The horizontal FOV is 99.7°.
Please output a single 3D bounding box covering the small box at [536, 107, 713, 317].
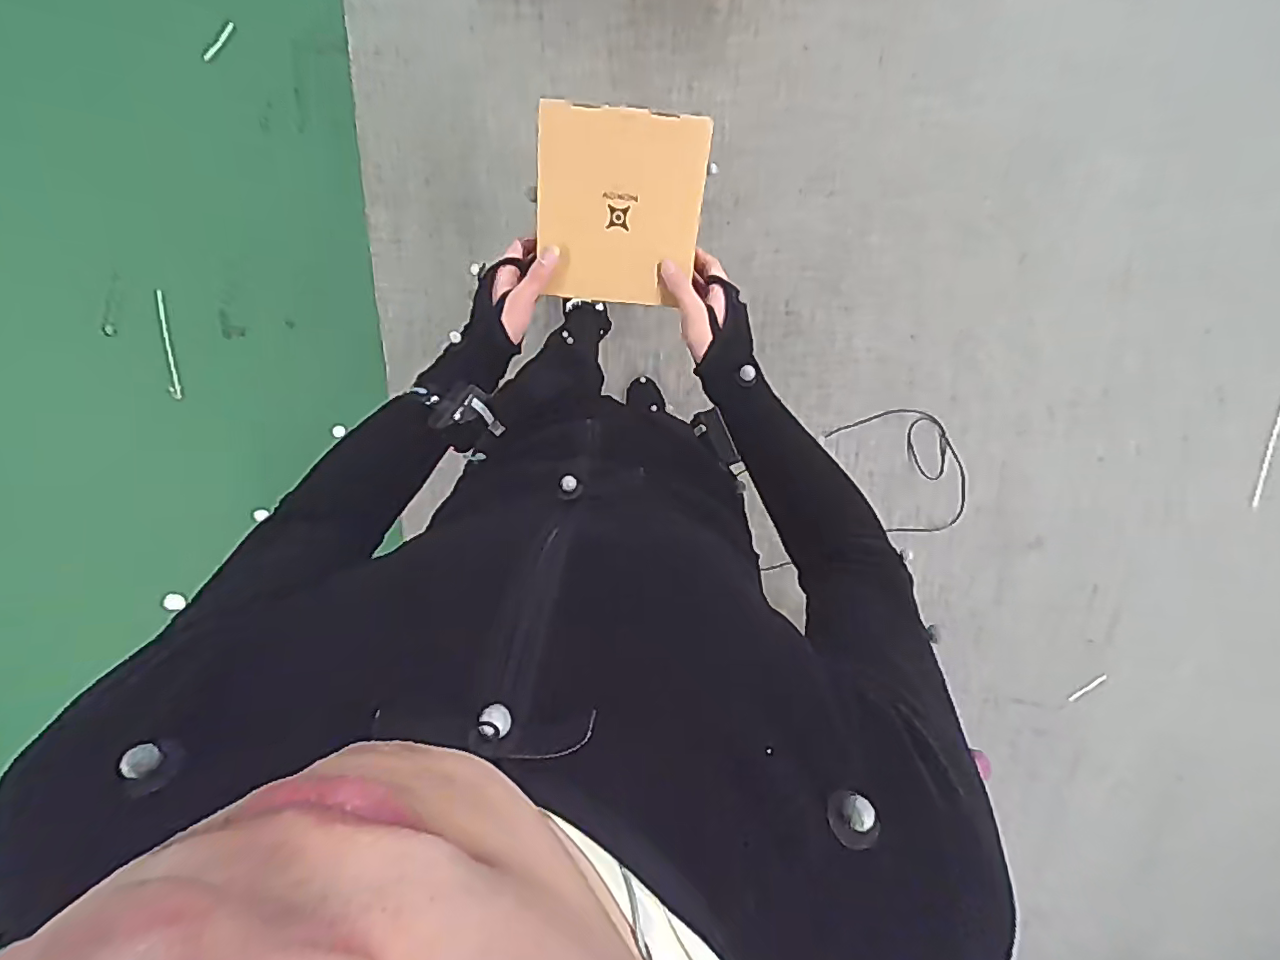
[{"bbox_3d":[-0.019,-0.294,0.611,0.168,0.176,0.179,5,115,-2],"label":"small box"}]
